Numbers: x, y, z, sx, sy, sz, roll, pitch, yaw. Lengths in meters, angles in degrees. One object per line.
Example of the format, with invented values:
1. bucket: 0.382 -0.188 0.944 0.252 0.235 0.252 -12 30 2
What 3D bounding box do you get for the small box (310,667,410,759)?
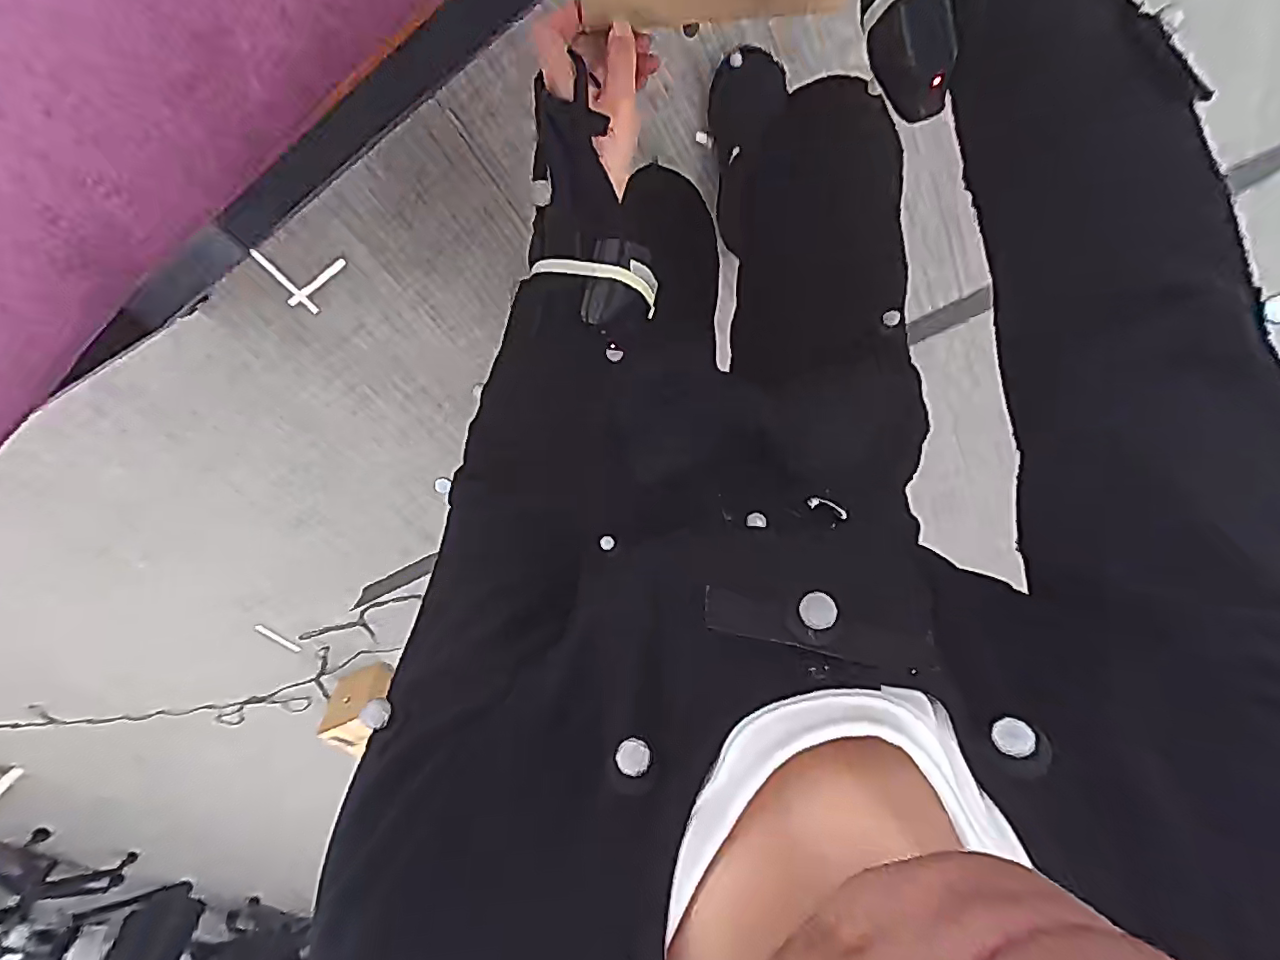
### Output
1. small box: -0.809 0.681 1.583 0.179 0.176 0.168 -27 125 17
